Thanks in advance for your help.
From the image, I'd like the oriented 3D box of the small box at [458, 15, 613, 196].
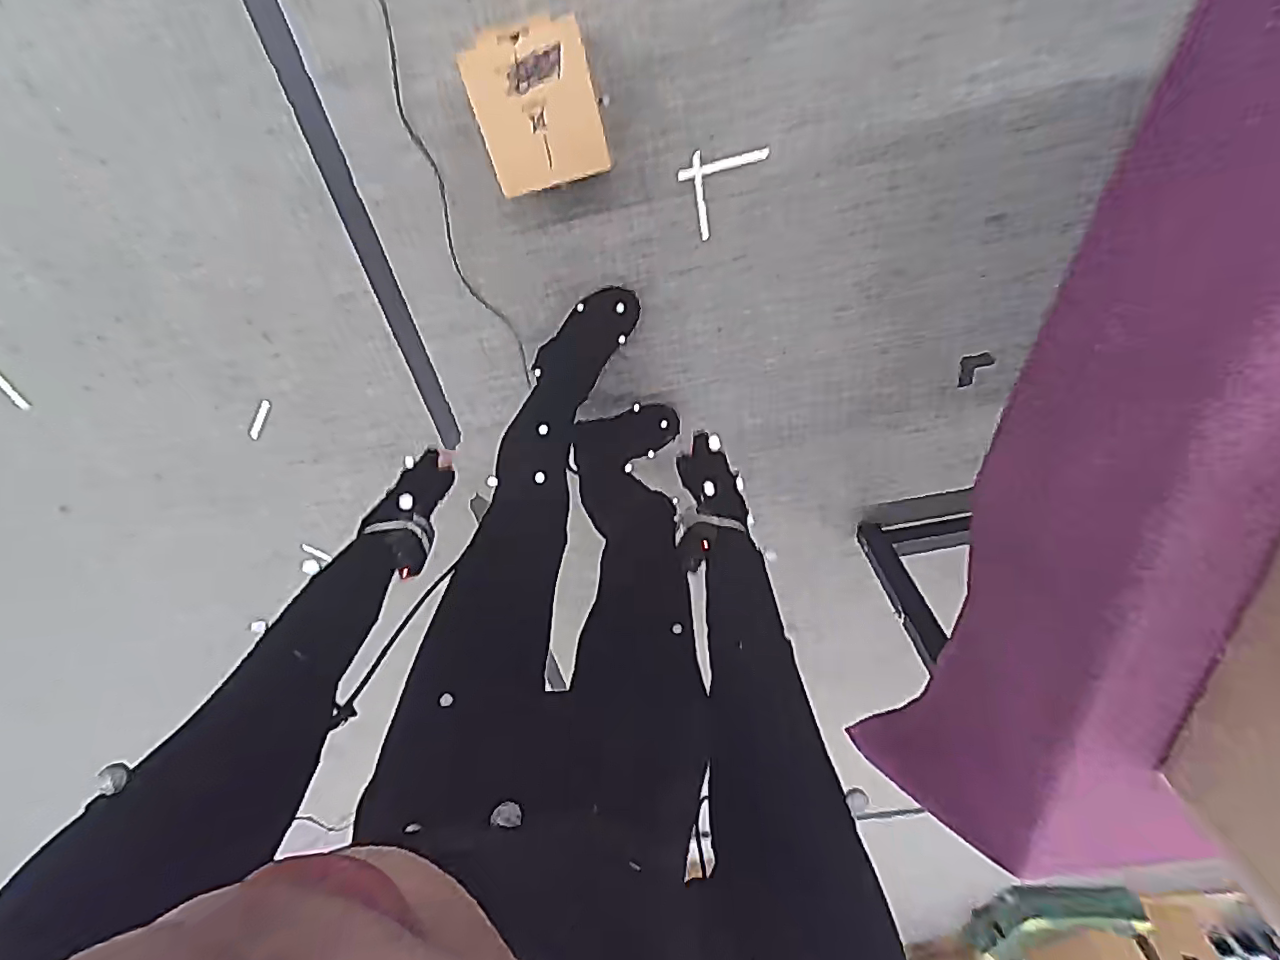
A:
[{"bbox_3d":[-0.140,-0.540,0.797,0.168,0.176,0.179,-12,123,7],"label":"small box"}]
